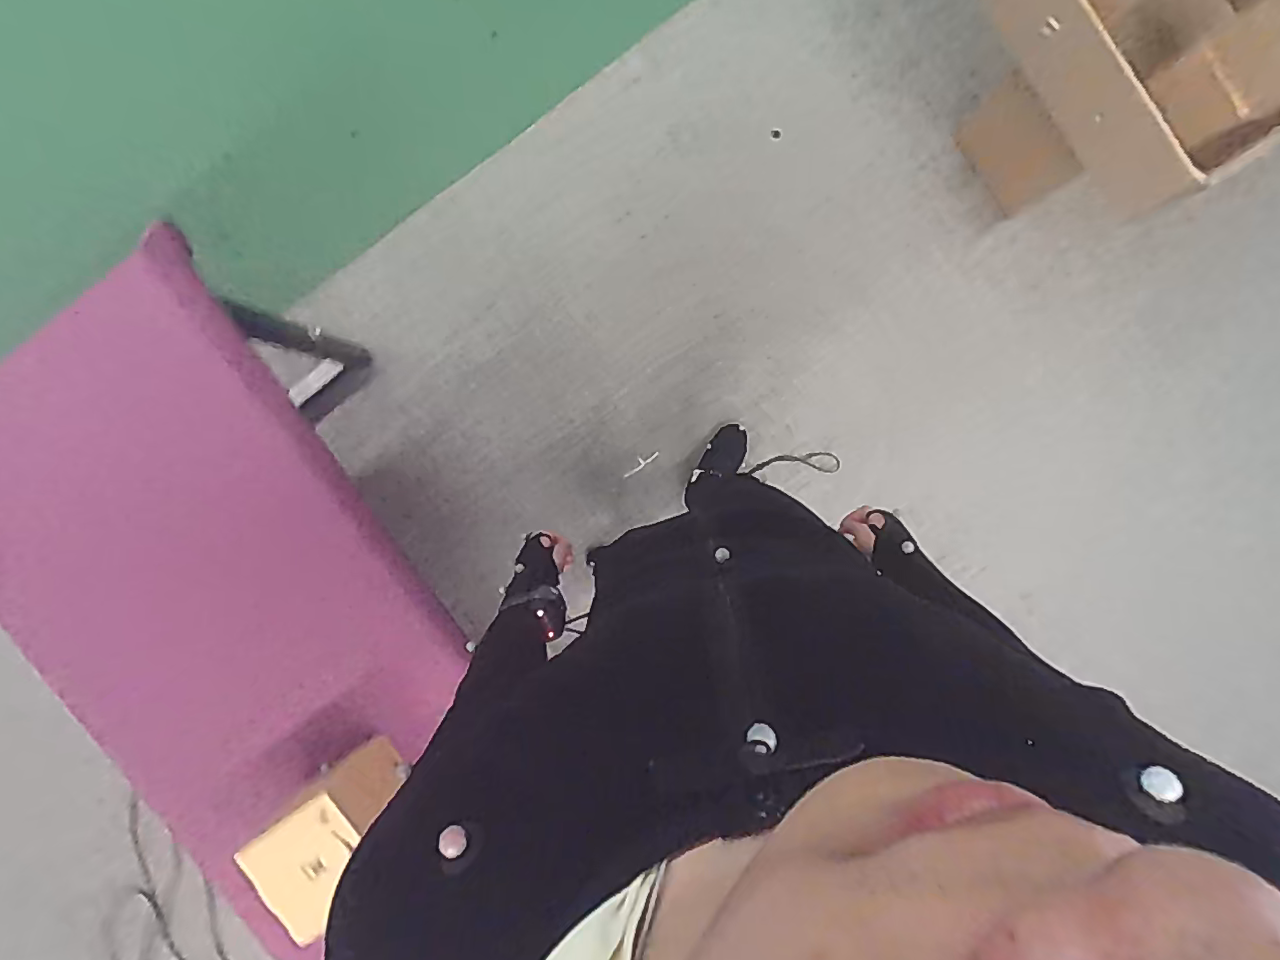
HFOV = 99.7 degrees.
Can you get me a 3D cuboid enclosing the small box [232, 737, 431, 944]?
[{"bbox_3d":[-0.469,0.553,0.853,0.179,0.176,0.168,-36,92,3],"label":"small box"}]
